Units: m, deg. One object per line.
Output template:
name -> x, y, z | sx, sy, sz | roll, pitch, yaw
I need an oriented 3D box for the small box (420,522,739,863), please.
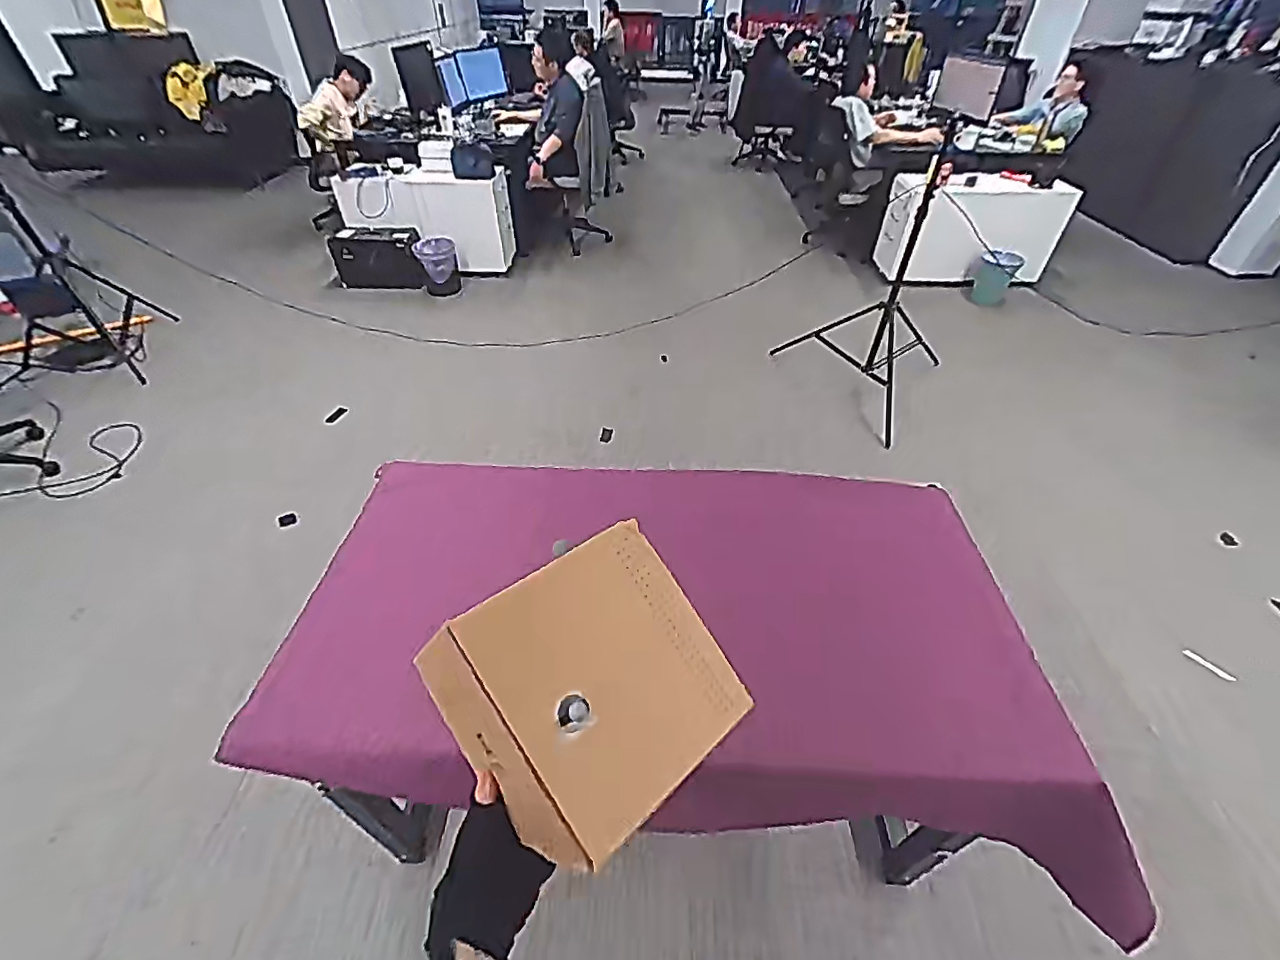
small box -> -0.052, 0.163, 0.448 | 0.176, 0.168, 0.179 | -27, 80, -38
